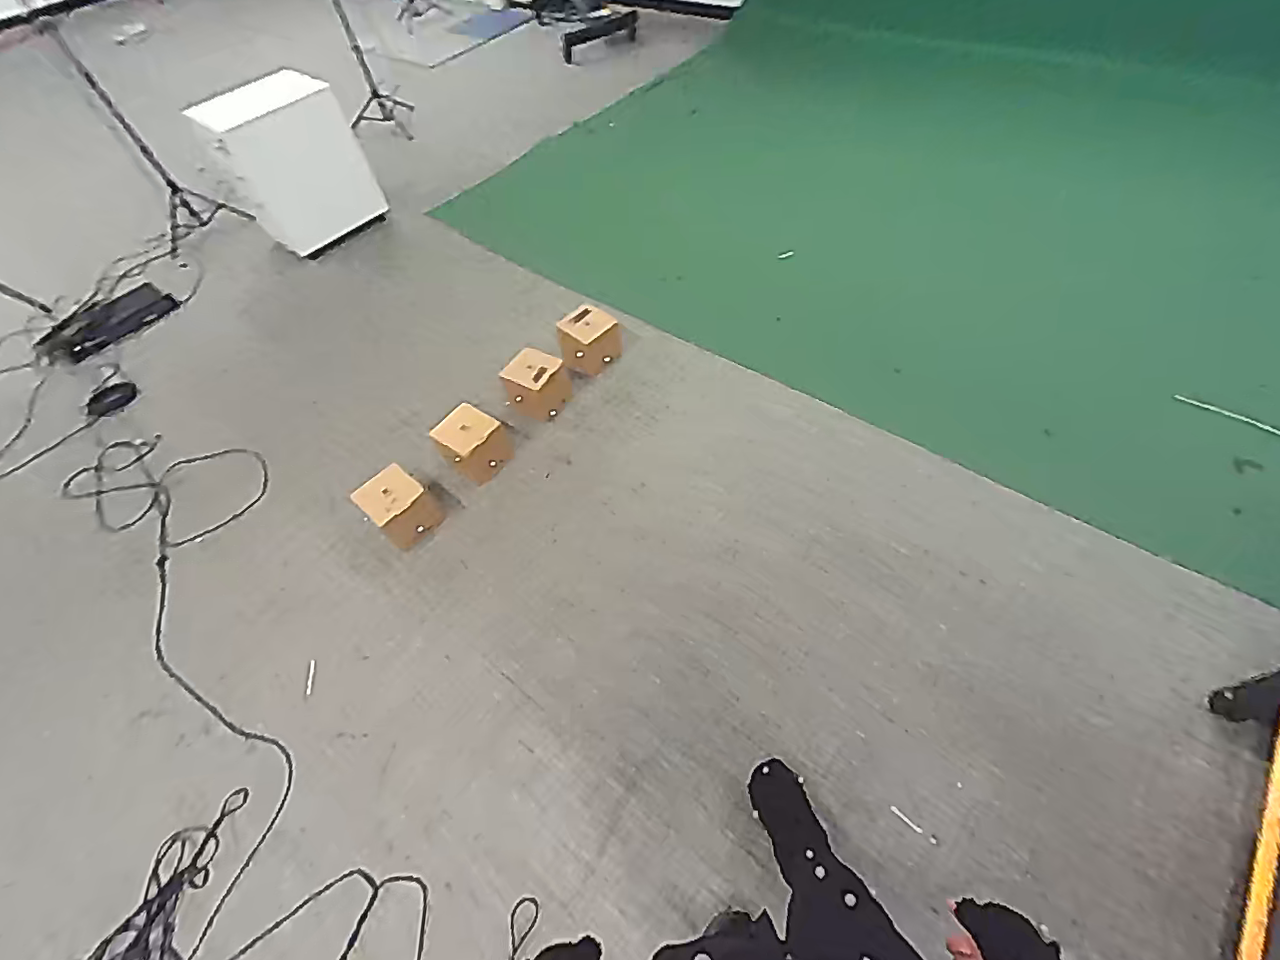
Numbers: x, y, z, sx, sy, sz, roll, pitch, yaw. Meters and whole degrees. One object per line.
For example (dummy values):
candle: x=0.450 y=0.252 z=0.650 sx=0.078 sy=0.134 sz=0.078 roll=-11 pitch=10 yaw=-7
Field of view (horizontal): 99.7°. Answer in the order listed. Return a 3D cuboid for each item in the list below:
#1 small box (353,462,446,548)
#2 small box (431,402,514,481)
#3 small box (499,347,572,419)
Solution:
small box: x=-0.744 y=0.082 z=1.688 sx=0.179 sy=0.176 sz=0.168 roll=35 pitch=66 yaw=25
small box: x=-0.555 y=-0.123 z=1.811 sx=0.179 sy=0.176 sz=0.168 roll=28 pitch=63 yaw=22
small box: x=-0.368 y=-0.343 z=1.944 sx=0.179 sy=0.176 sz=0.168 roll=23 pitch=60 yaw=21
